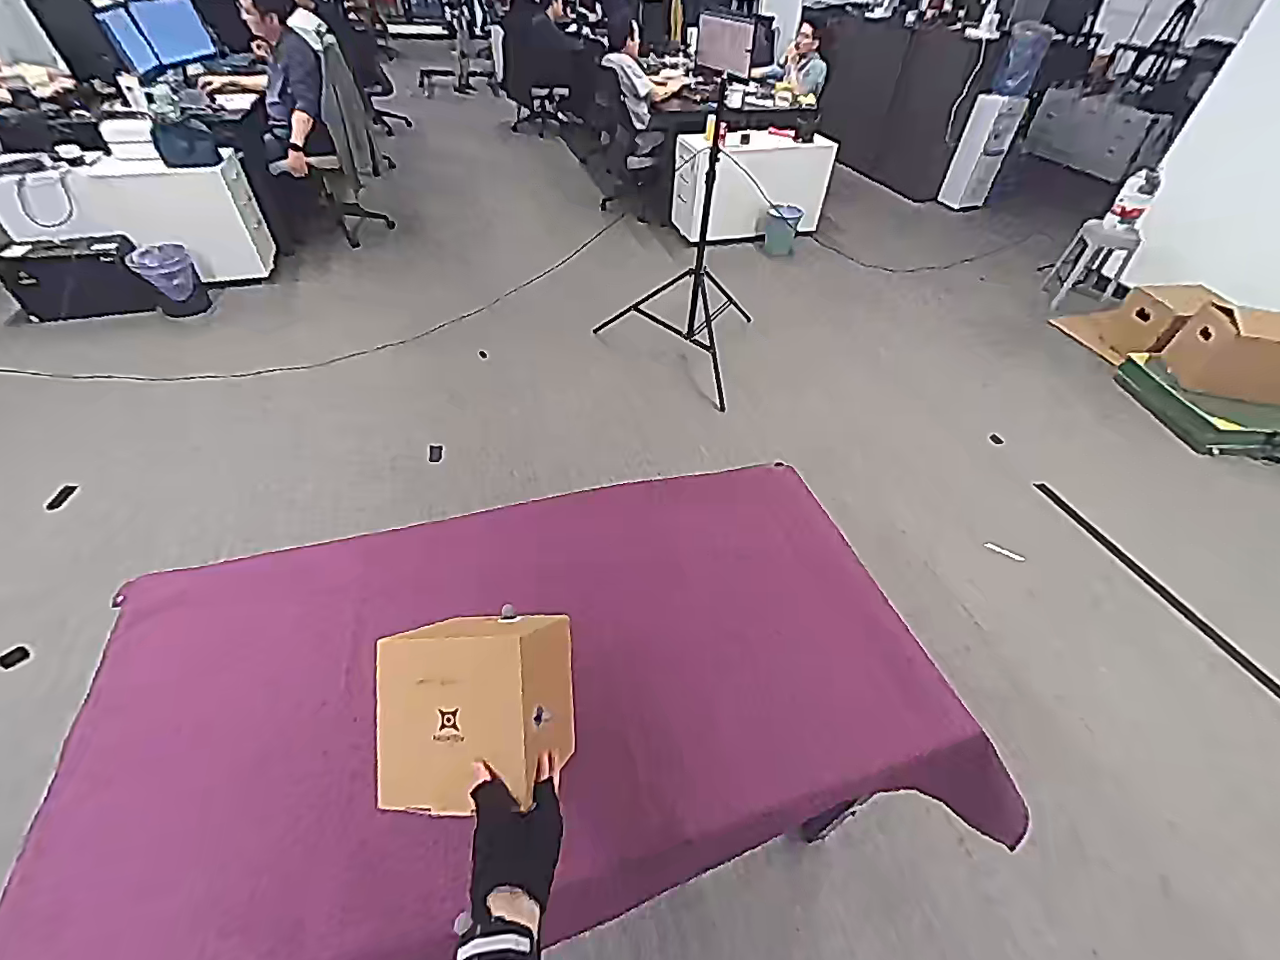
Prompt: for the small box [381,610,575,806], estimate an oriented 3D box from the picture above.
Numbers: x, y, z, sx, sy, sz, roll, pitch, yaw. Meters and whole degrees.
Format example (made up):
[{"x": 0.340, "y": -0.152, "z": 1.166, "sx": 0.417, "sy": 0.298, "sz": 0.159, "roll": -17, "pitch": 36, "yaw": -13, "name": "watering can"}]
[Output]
[{"x": -0.182, "y": 0.259, "z": 0.646, "sx": 0.168, "sy": 0.176, "sz": 0.179, "roll": -7, "pitch": 82, "yaw": 9, "name": "small box"}]
